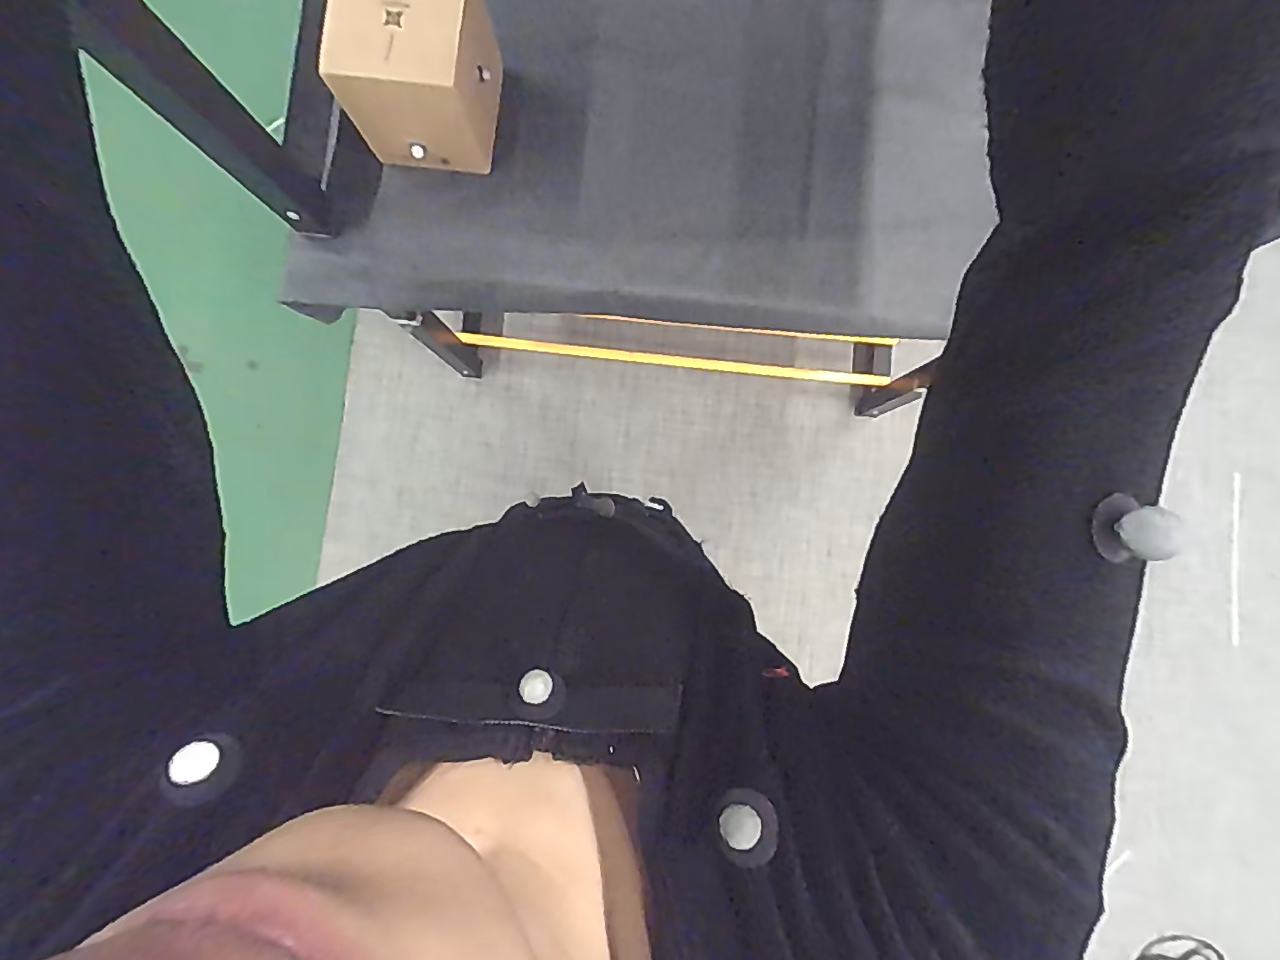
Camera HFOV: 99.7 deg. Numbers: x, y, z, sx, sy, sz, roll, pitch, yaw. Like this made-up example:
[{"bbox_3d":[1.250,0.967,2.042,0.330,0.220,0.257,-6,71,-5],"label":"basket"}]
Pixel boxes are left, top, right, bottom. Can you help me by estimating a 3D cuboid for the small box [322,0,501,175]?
[{"bbox_3d":[-0.295,-0.557,0.736,0.168,0.176,0.179,6,86,-1],"label":"small box"}]
